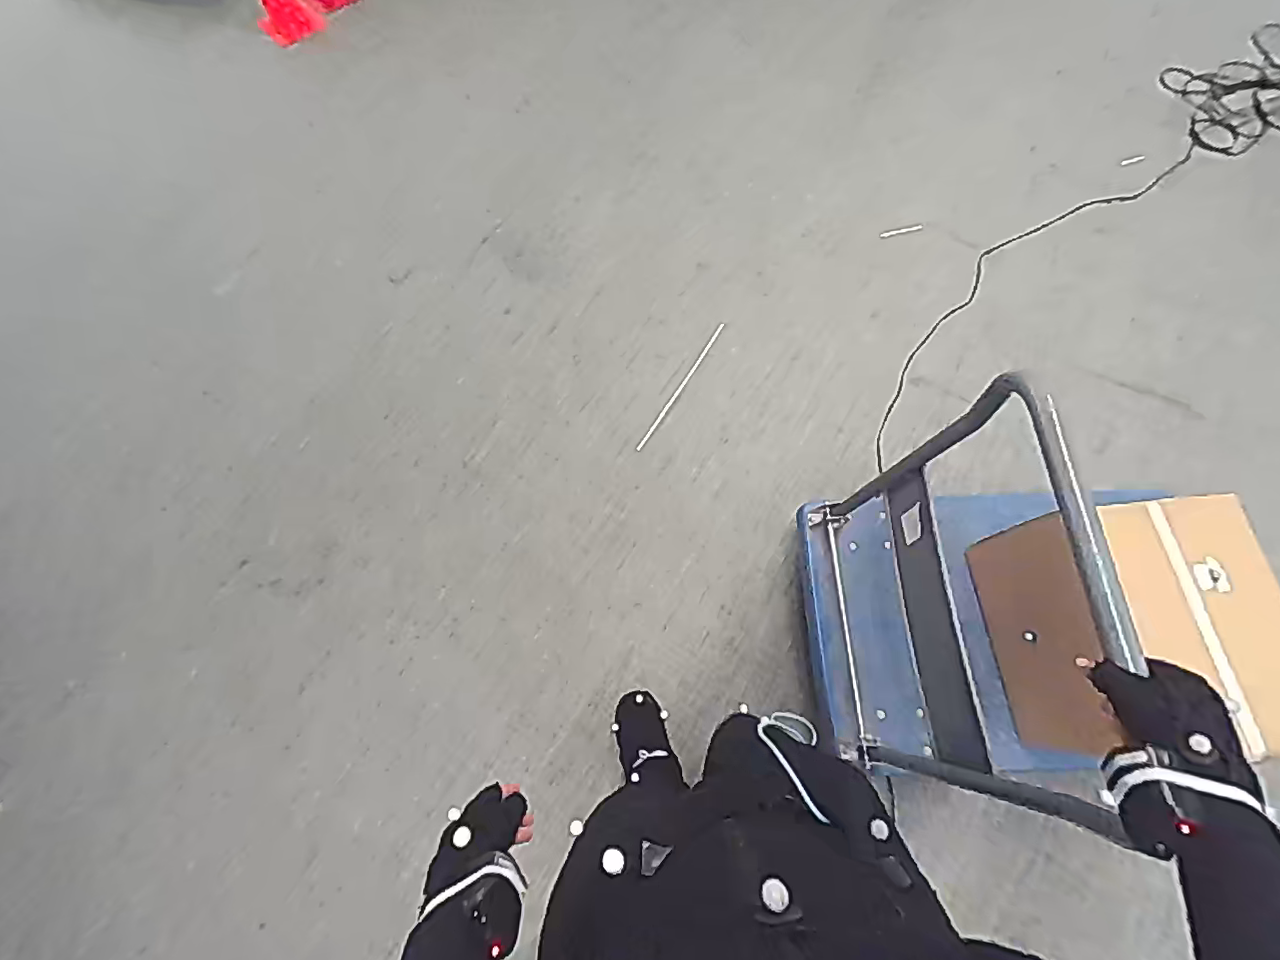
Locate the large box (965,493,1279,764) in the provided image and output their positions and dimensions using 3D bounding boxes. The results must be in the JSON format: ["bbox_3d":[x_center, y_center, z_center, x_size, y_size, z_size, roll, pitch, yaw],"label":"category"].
[{"bbox_3d":[0.892,0.276,1.012,0.320,0.320,0.408,-5,69,-2],"label":"large box"}]
